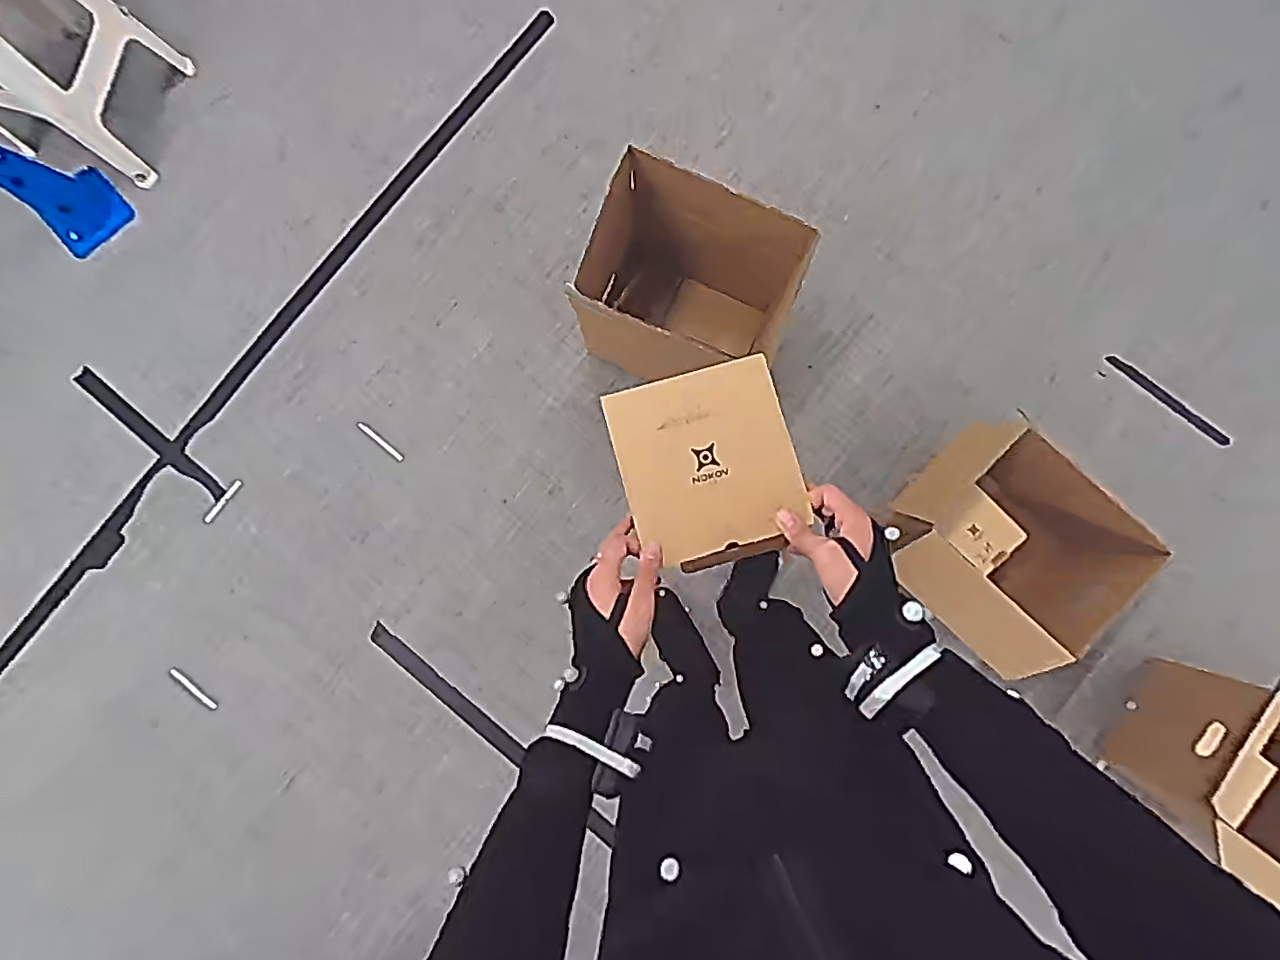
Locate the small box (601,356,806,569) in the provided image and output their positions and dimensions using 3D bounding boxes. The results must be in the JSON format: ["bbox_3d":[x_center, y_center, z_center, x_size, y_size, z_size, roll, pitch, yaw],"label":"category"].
[{"bbox_3d":[0.061,-0.017,0.597,0.168,0.176,0.179,-15,89,-1],"label":"small box"}]
